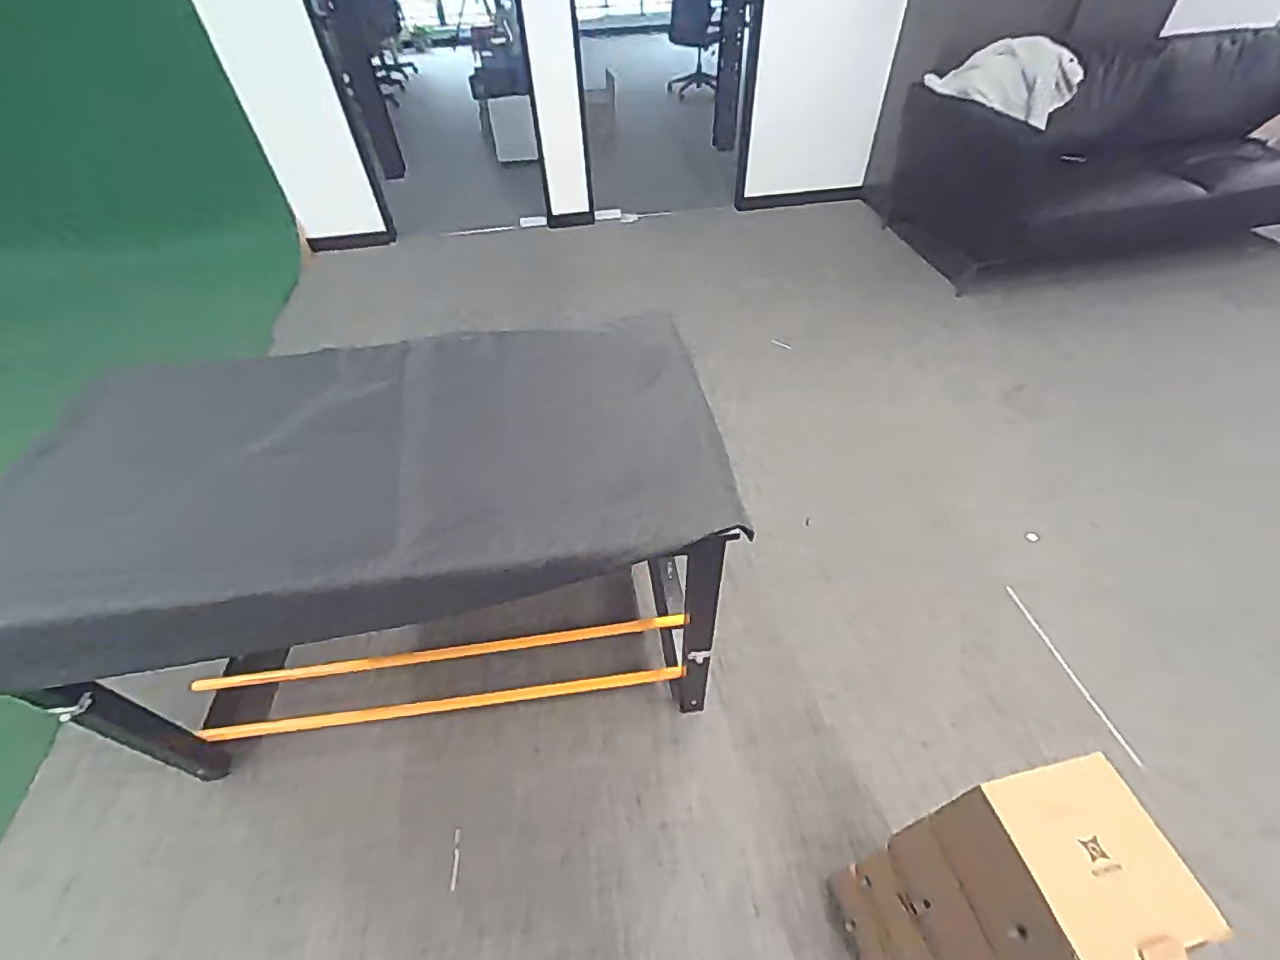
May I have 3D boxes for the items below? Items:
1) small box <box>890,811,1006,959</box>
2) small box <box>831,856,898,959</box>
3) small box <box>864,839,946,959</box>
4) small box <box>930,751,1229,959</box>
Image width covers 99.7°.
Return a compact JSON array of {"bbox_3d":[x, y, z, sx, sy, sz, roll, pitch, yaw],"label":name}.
[{"bbox_3d":[0.486,0.560,0.755,0.168,0.176,0.179,-10,48,-8],"label":"small box"},{"bbox_3d":[0.480,0.786,0.993,0.179,0.176,0.168,-12,47,-8],"label":"small box"},{"bbox_3d":[0.487,0.673,0.874,0.179,0.176,0.168,-10,48,-8],"label":"small box"},{"bbox_3d":[0.485,0.450,0.635,0.168,0.176,0.179,-10,47,-8],"label":"small box"}]
